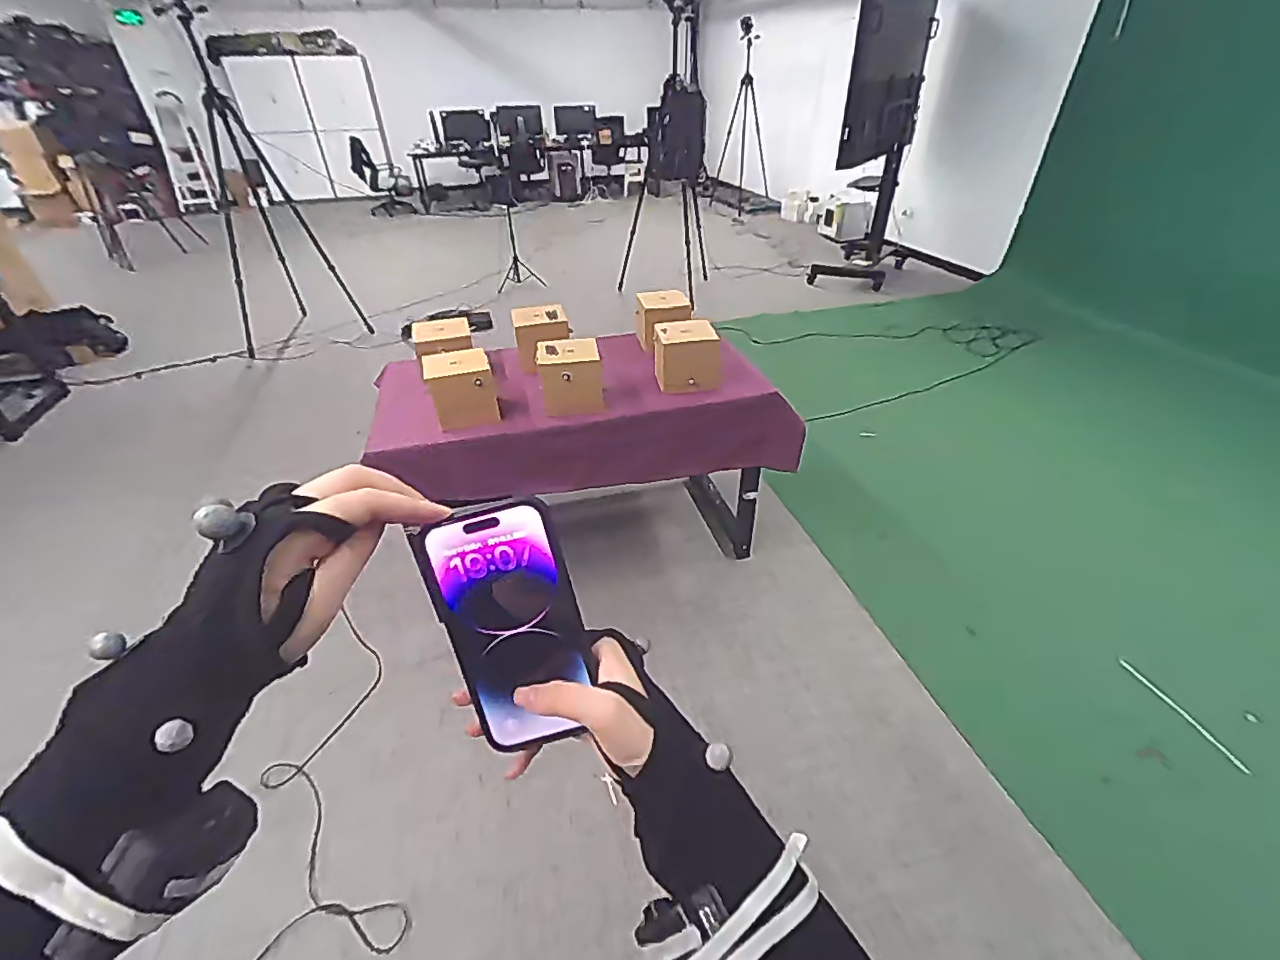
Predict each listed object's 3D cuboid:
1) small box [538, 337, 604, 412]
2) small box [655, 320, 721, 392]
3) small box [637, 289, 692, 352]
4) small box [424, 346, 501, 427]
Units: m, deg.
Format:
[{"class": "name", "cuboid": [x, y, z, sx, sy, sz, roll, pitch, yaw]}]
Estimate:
[{"class": "small box", "cuboid": [-0.203, -0.311, 1.606, 0.179, 0.176, 0.168, -5, 37, -7]}, {"class": "small box", "cuboid": [0.146, -0.391, 1.702, 0.179, 0.176, 0.168, -5, 37, -6]}, {"class": "small box", "cuboid": [0.084, -0.575, 1.949, 0.168, 0.176, 0.179, -8, 38, -8]}, {"class": "small box", "cuboid": [-0.510, -0.268, 1.558, 0.179, 0.176, 0.168, -12, 38, -16]}]
